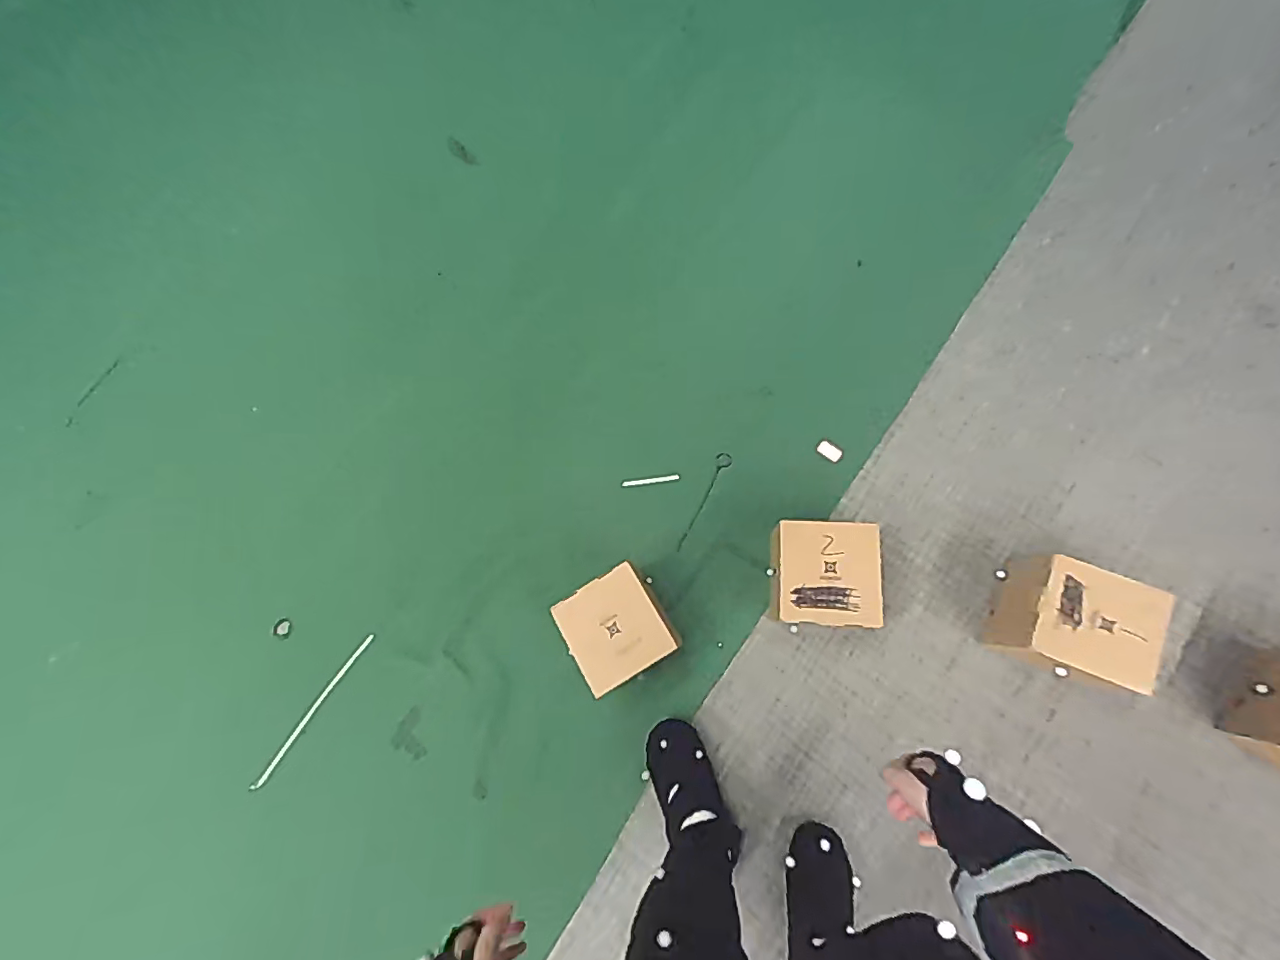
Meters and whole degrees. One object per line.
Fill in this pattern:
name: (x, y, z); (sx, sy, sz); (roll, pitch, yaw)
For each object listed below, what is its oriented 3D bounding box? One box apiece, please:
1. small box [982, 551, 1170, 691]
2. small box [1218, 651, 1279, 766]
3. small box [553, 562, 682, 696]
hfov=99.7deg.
small box: (0.724, 0.237, 0.919); (0.179, 0.176, 0.168); (21, 80, 12)
small box: (1.085, 0.380, 0.833); (0.179, 0.176, 0.168); (34, 82, 14)
small box: (-0.036, 0.278, 1.015); (0.168, 0.176, 0.179); (-32, 74, -1)
